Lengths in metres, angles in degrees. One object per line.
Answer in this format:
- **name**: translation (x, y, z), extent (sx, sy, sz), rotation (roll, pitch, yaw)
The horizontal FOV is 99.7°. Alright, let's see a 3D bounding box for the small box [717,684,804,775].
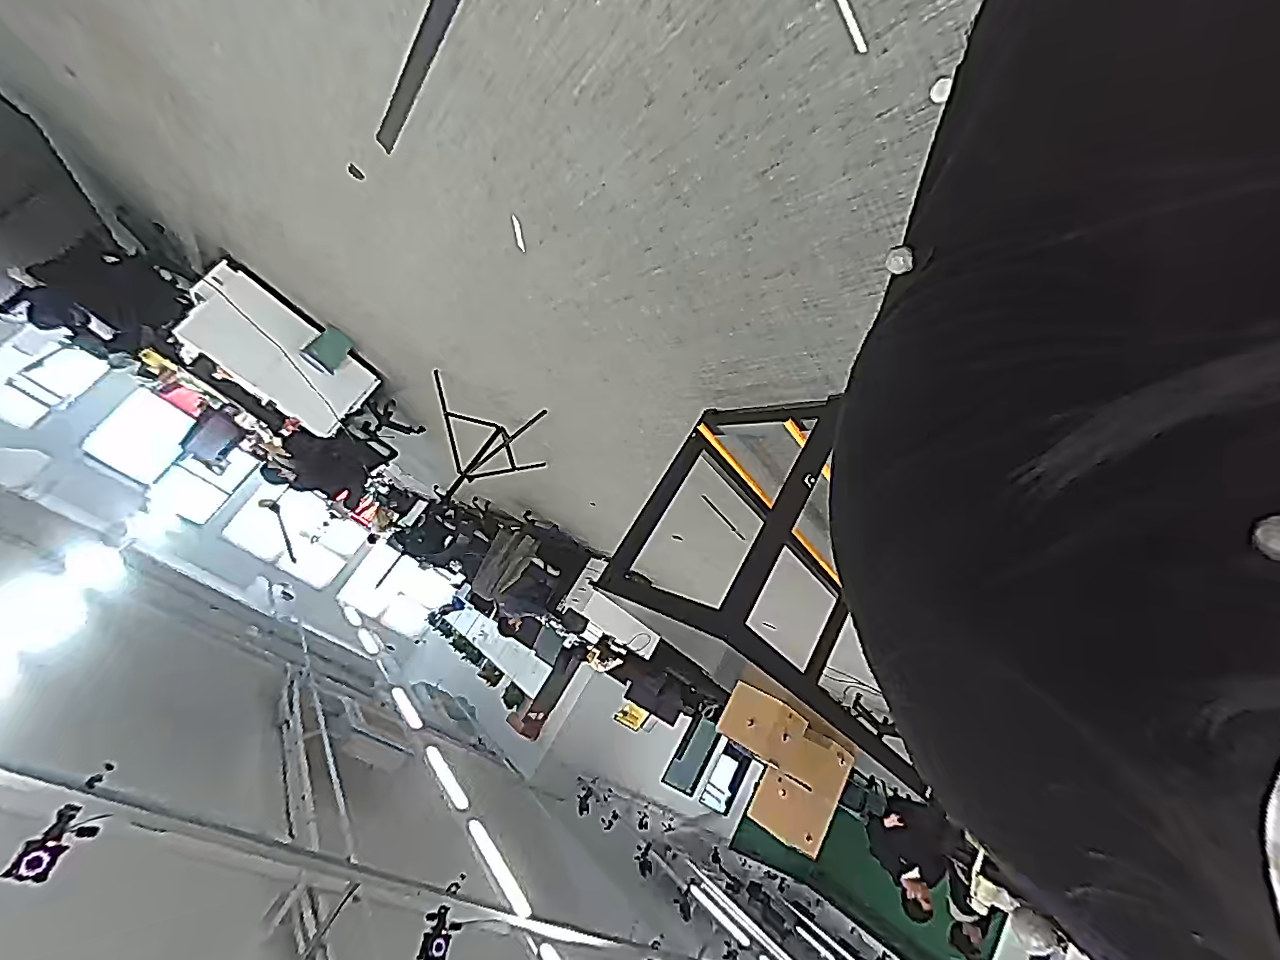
- **small box**: translation (0.371, 0.745, 1.630), extent (0.168, 0.176, 0.179), rotation (44, 158, -31)

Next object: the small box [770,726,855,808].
- **small box**: translation (0.566, 0.923, 1.768), extent (0.168, 0.176, 0.179), rotation (42, 159, -29)

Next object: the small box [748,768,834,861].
- **small box**: translation (0.482, 1.055, 1.715), extent (0.179, 0.176, 0.168), rotation (43, 159, -28)
